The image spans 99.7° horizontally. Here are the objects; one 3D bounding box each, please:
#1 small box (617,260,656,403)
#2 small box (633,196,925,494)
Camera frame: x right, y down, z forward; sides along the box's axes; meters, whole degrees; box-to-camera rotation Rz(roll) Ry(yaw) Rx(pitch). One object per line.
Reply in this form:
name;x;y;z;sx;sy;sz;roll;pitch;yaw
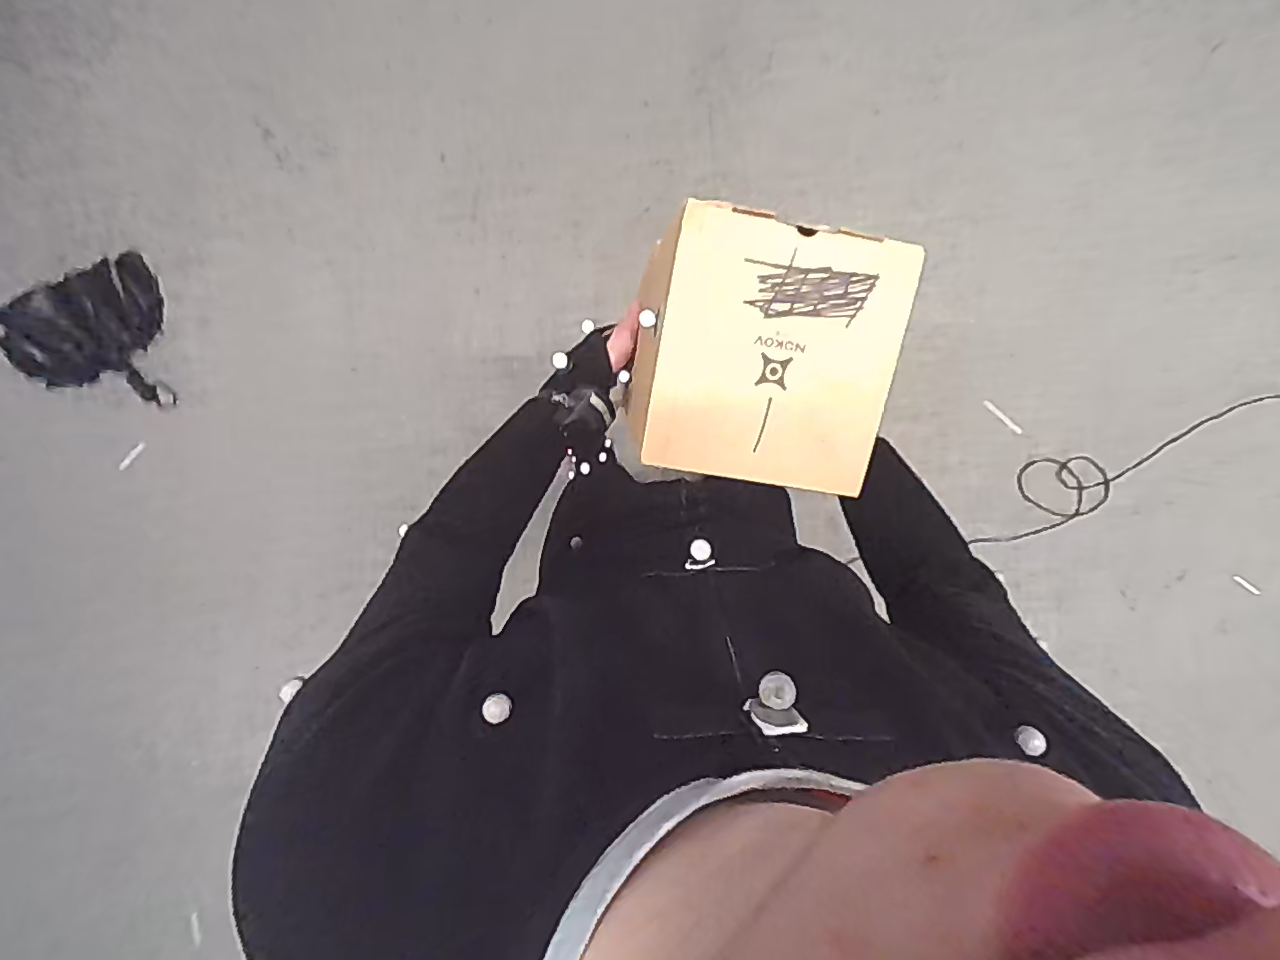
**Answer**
small box;0.066;-0.190;0.758;0.168;0.176;0.179;11;104;-6
small box;0.088;-0.105;0.443;0.168;0.176;0.179;9;105;-5
